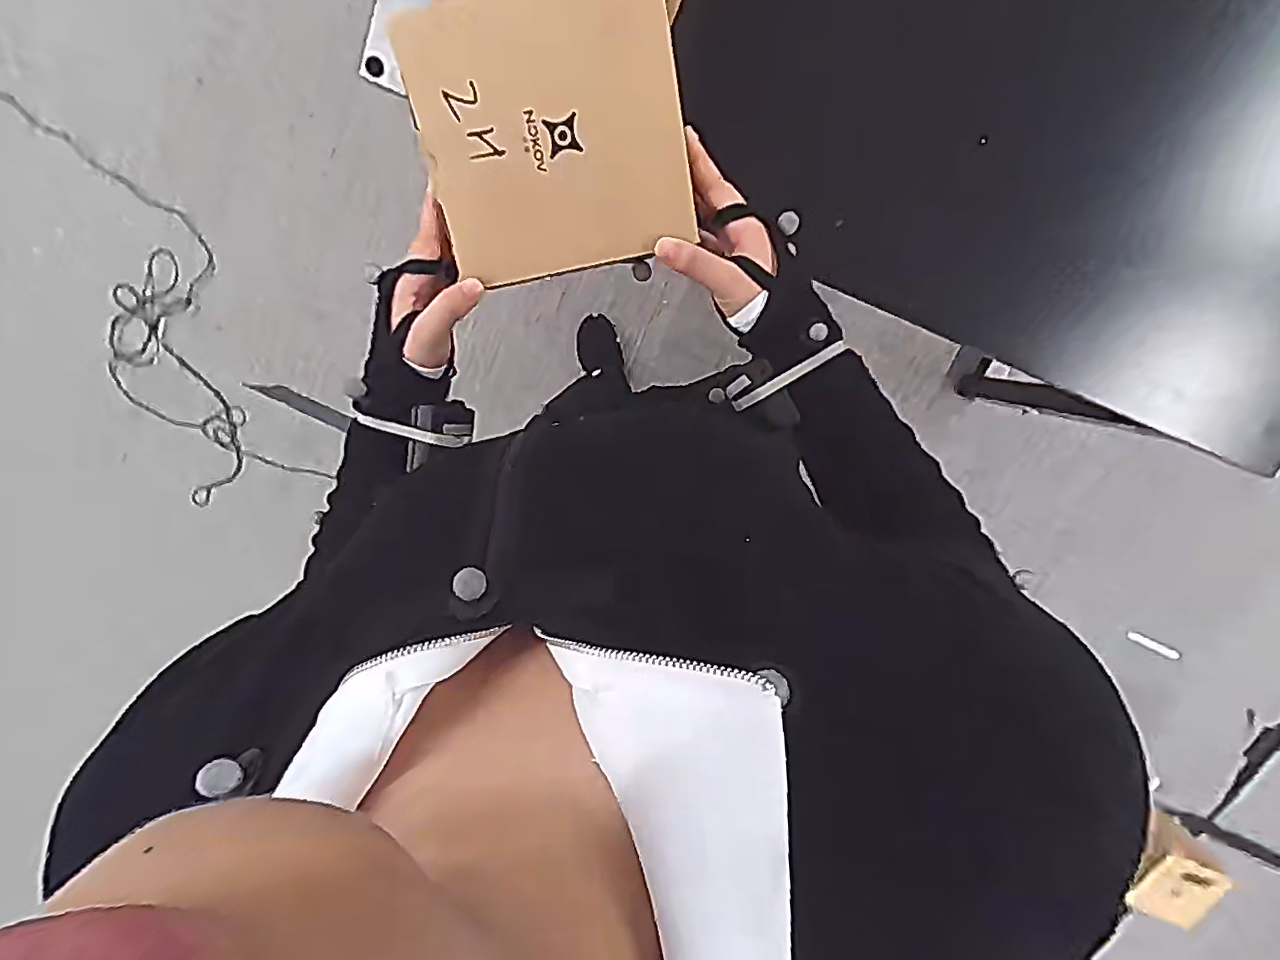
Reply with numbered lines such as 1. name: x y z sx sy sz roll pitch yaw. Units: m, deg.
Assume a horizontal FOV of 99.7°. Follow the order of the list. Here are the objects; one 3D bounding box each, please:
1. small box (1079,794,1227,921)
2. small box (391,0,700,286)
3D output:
1. small box: 1.266 0.933 1.352 0.168 0.176 0.179 24 106 0
2. small box: -0.054 -0.256 0.426 0.179 0.176 0.168 -8 112 6
